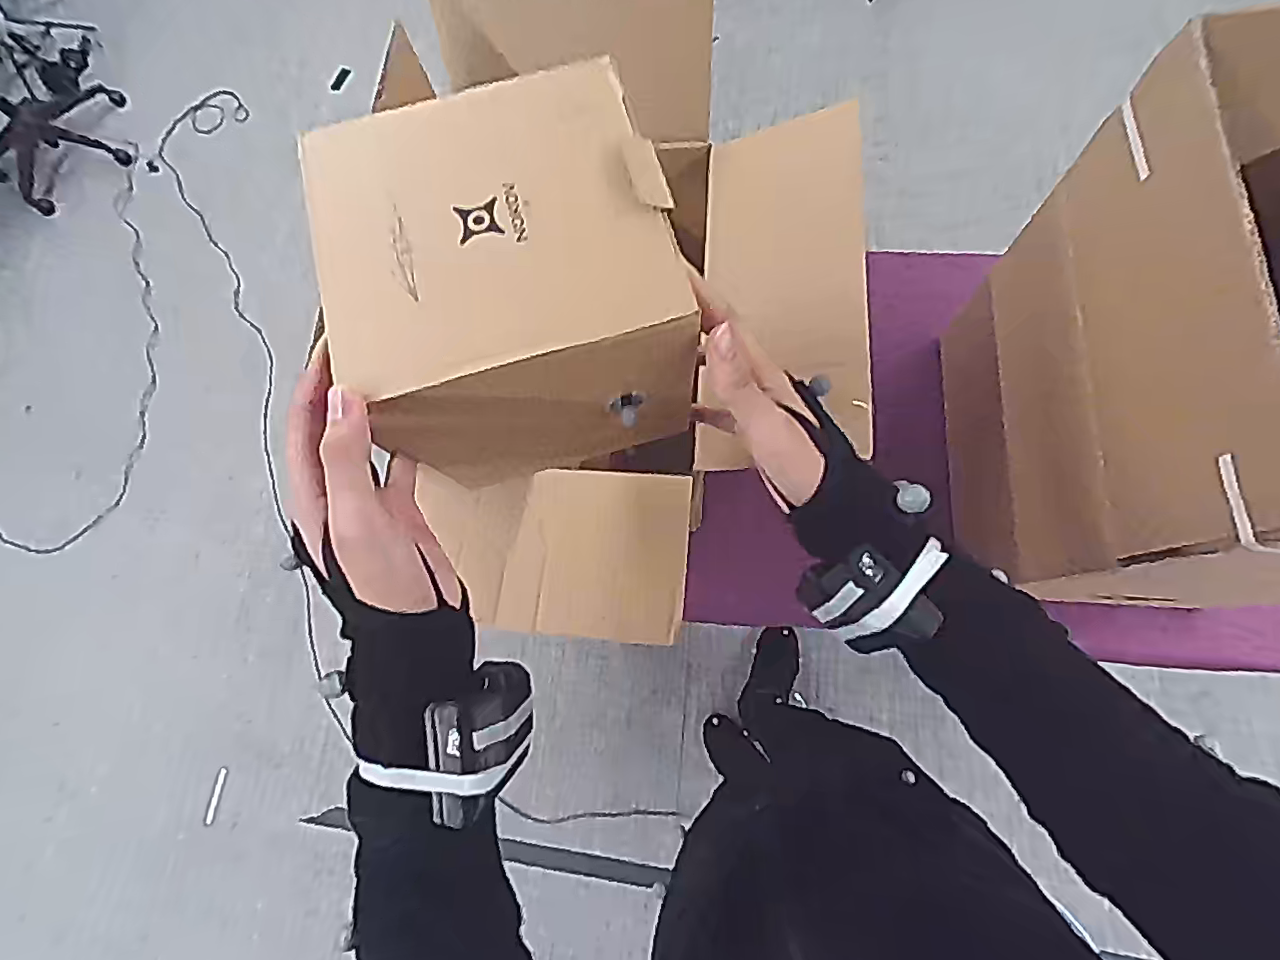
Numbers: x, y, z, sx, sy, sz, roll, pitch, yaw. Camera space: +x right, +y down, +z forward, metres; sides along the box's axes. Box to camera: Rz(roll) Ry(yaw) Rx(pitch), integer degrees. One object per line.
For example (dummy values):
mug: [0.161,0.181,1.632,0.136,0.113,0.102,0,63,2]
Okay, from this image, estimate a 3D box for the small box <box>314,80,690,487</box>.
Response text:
small box: [-0.075,-0.108,0.361,0.179,0.176,0.168,-15,74,-1]
